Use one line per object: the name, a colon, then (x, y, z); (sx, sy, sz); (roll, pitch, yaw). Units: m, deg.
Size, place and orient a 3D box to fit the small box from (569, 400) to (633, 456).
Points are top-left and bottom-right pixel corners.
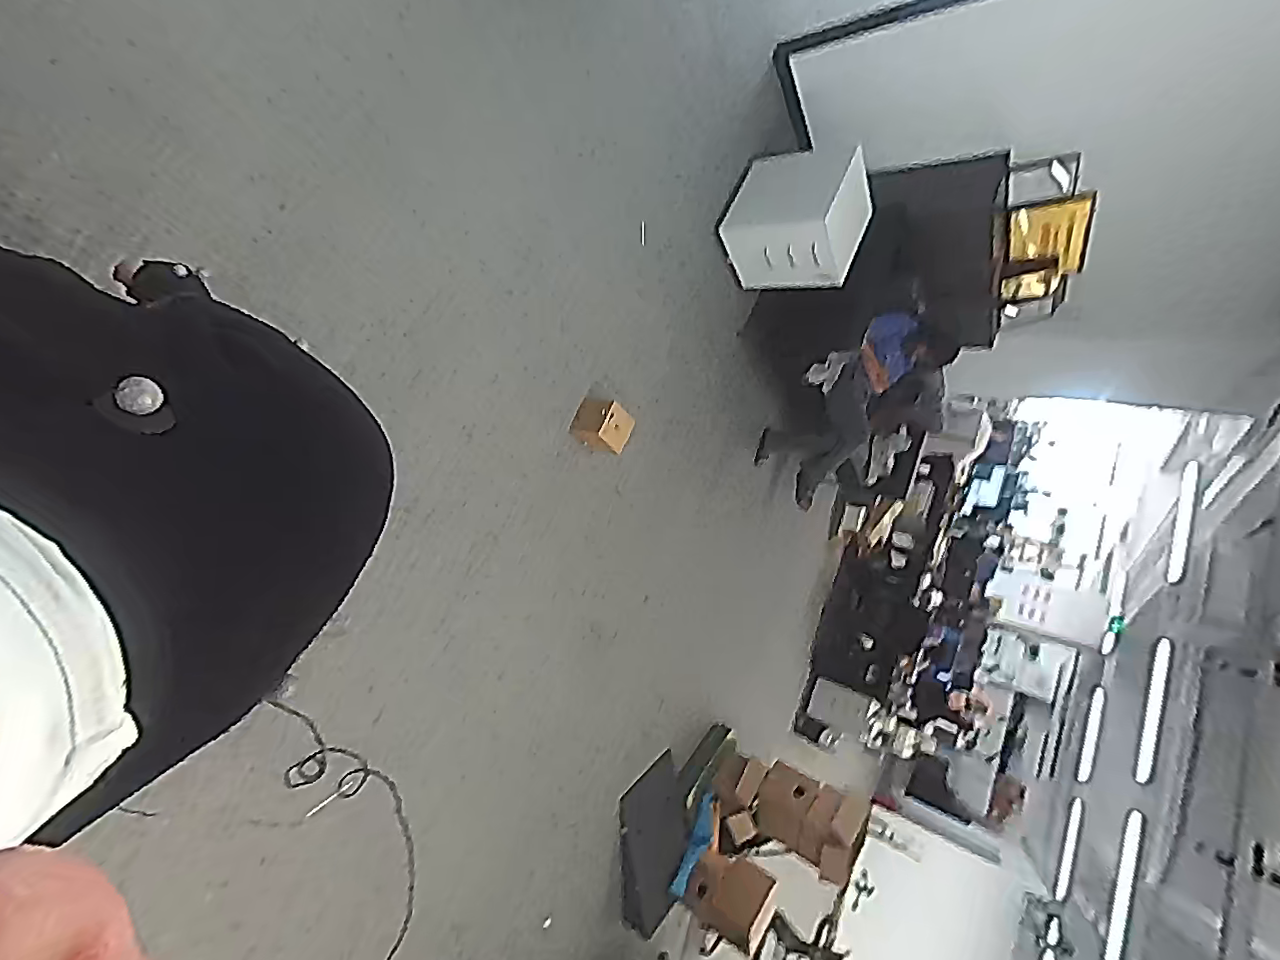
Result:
small box: (-0.166, -0.221, 2.267); (0.179, 0.176, 0.168); (44, 64, -50)
